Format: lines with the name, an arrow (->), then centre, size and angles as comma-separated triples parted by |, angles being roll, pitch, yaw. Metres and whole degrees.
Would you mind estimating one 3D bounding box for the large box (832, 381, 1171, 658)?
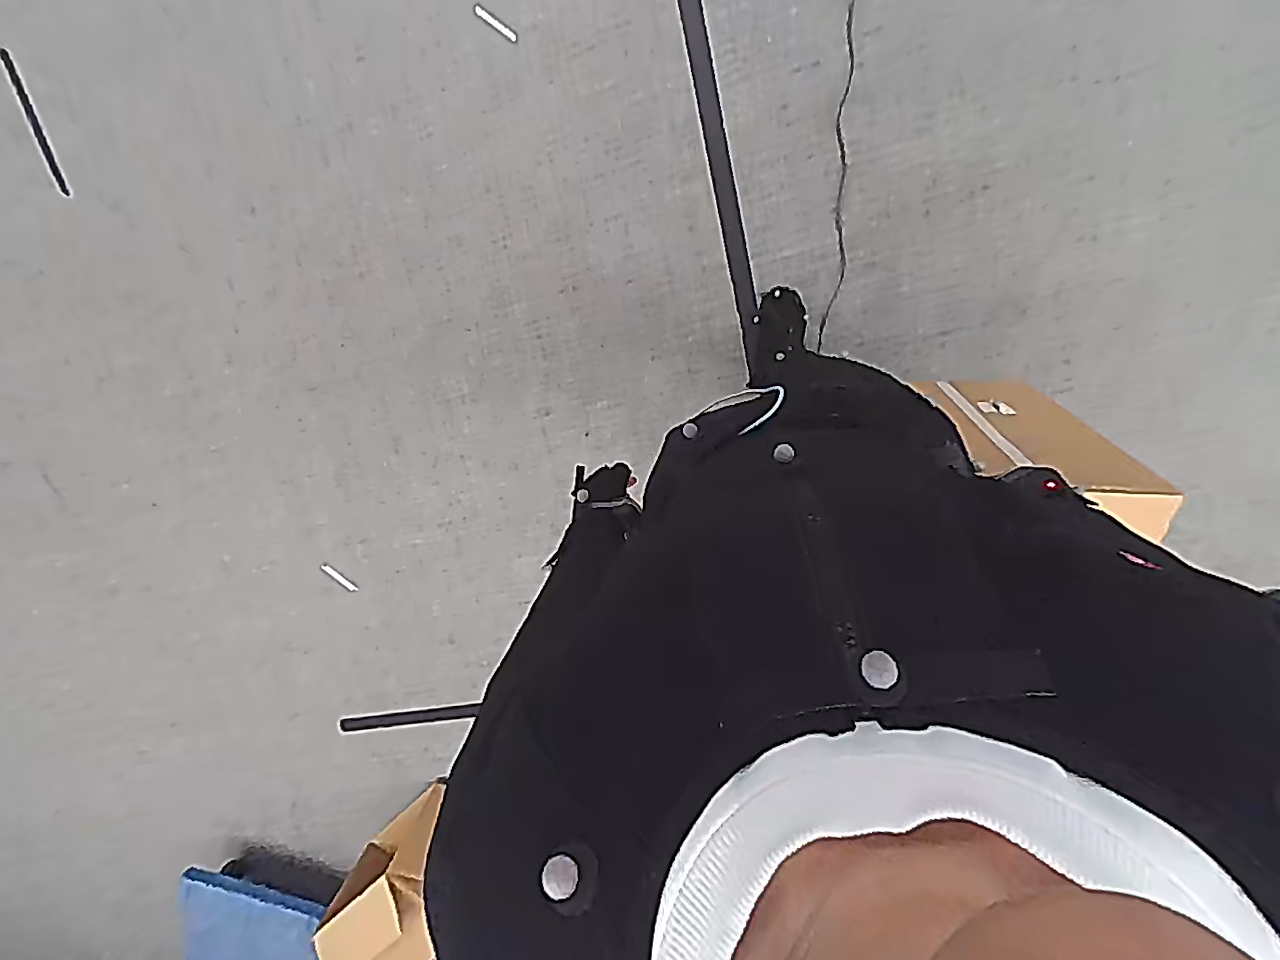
large box -> 0.535, 0.044, 0.921 | 0.320, 0.408, 0.320 | 3, 118, 7
